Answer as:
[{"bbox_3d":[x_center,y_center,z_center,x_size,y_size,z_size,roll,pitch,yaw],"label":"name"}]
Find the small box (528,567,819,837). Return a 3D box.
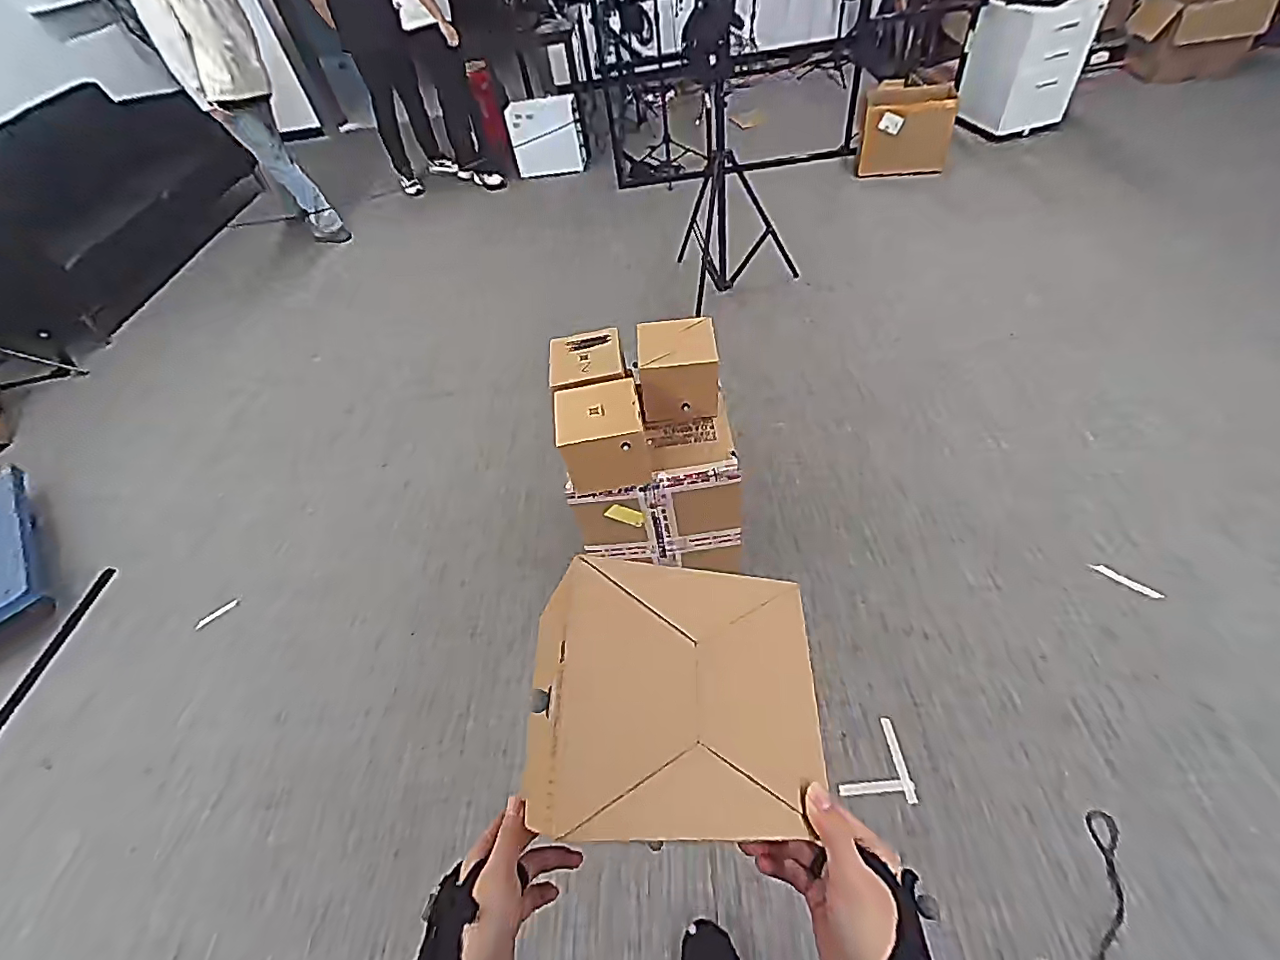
[{"bbox_3d":[0.016,0.180,0.429,0.179,0.176,0.168,10,58,-15],"label":"small box"}]
